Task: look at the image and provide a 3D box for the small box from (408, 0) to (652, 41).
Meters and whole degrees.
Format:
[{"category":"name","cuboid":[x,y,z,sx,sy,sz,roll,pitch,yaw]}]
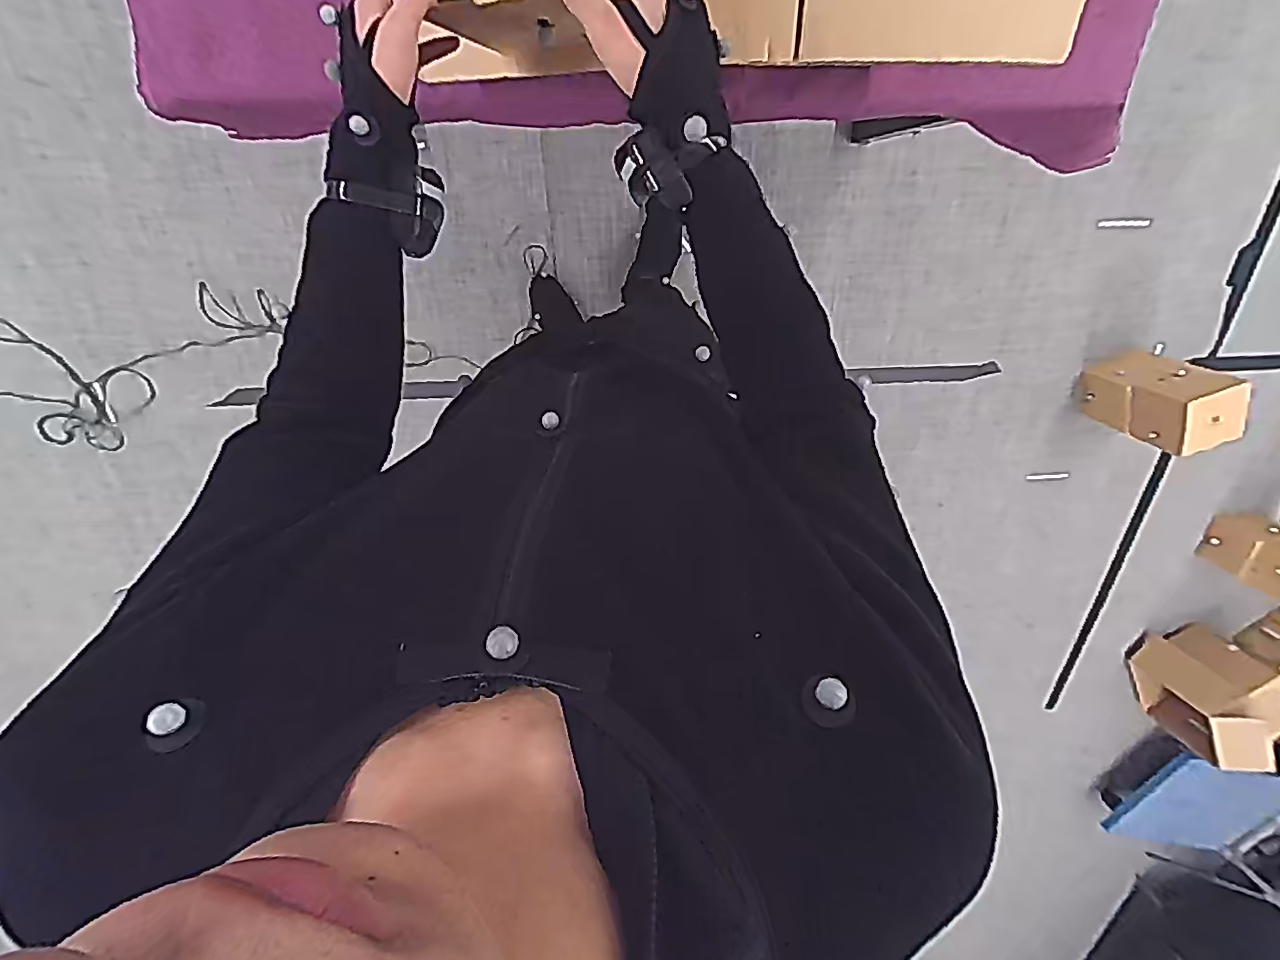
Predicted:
[{"category":"small box","cuboid":[-0.089,-0.478,0.432,0.168,0.176,0.179,3,119,14]}]
